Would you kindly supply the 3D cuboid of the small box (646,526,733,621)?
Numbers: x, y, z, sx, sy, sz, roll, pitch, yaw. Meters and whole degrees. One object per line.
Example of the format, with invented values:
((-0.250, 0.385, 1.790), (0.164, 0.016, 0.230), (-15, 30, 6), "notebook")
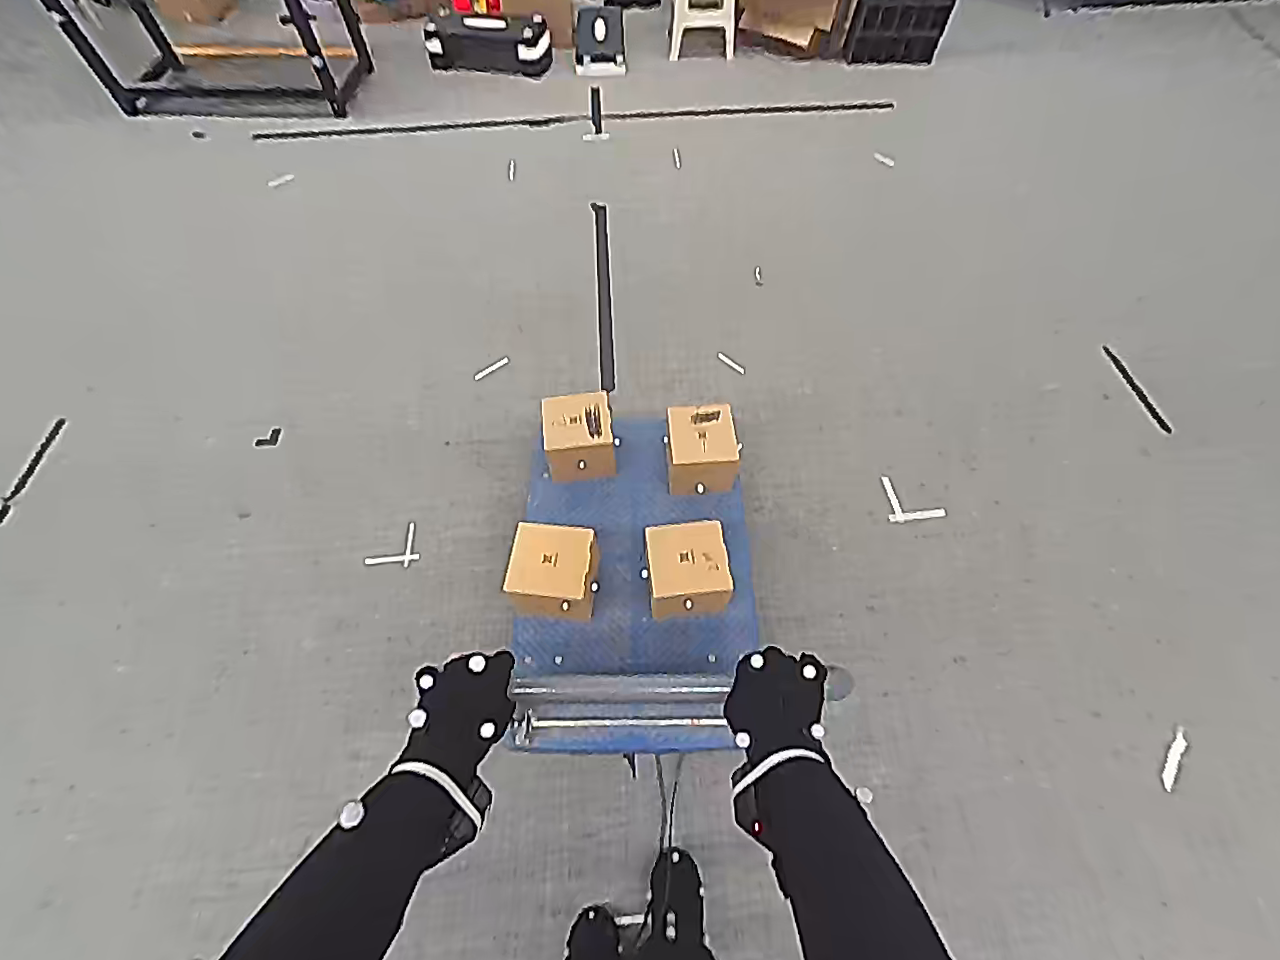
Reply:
((0.110, 0.222, 1.264), (0.179, 0.176, 0.168), (-5, 59, -2), "small box")

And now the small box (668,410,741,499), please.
((0.164, -0.066, 1.436), (0.168, 0.176, 0.179), (-3, 60, -1), "small box")

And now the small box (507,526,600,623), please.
((-0.194, 0.225, 1.266), (0.179, 0.176, 0.168), (6, 59, 2), "small box")
